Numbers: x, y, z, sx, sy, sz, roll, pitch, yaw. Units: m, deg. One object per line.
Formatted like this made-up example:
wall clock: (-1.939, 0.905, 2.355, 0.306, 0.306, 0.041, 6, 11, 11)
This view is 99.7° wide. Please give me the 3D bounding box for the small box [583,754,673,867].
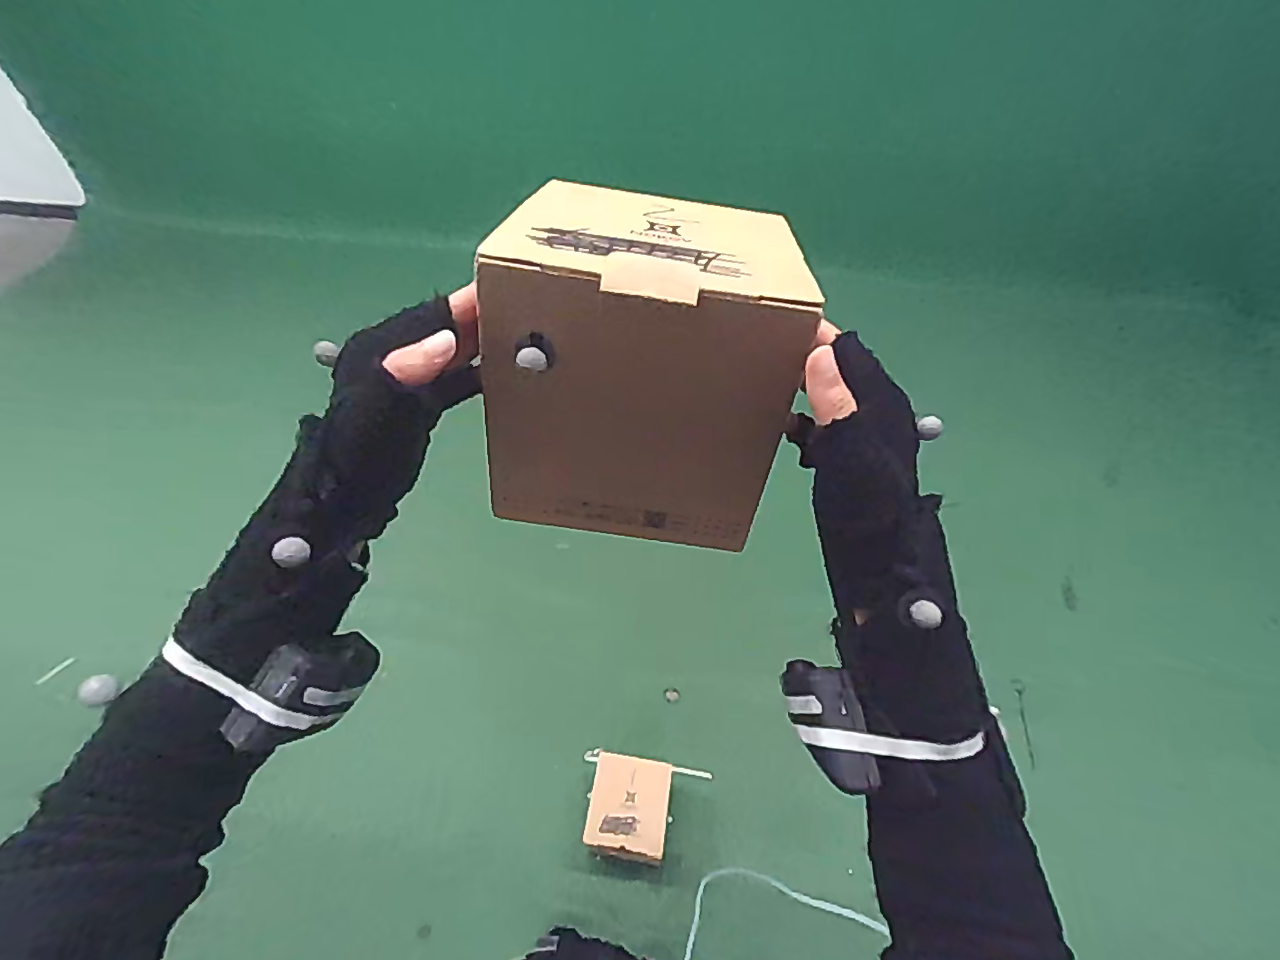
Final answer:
small box: (-0.022, 0.738, 1.200, 0.168, 0.176, 0.179, 8, 50, 5)
